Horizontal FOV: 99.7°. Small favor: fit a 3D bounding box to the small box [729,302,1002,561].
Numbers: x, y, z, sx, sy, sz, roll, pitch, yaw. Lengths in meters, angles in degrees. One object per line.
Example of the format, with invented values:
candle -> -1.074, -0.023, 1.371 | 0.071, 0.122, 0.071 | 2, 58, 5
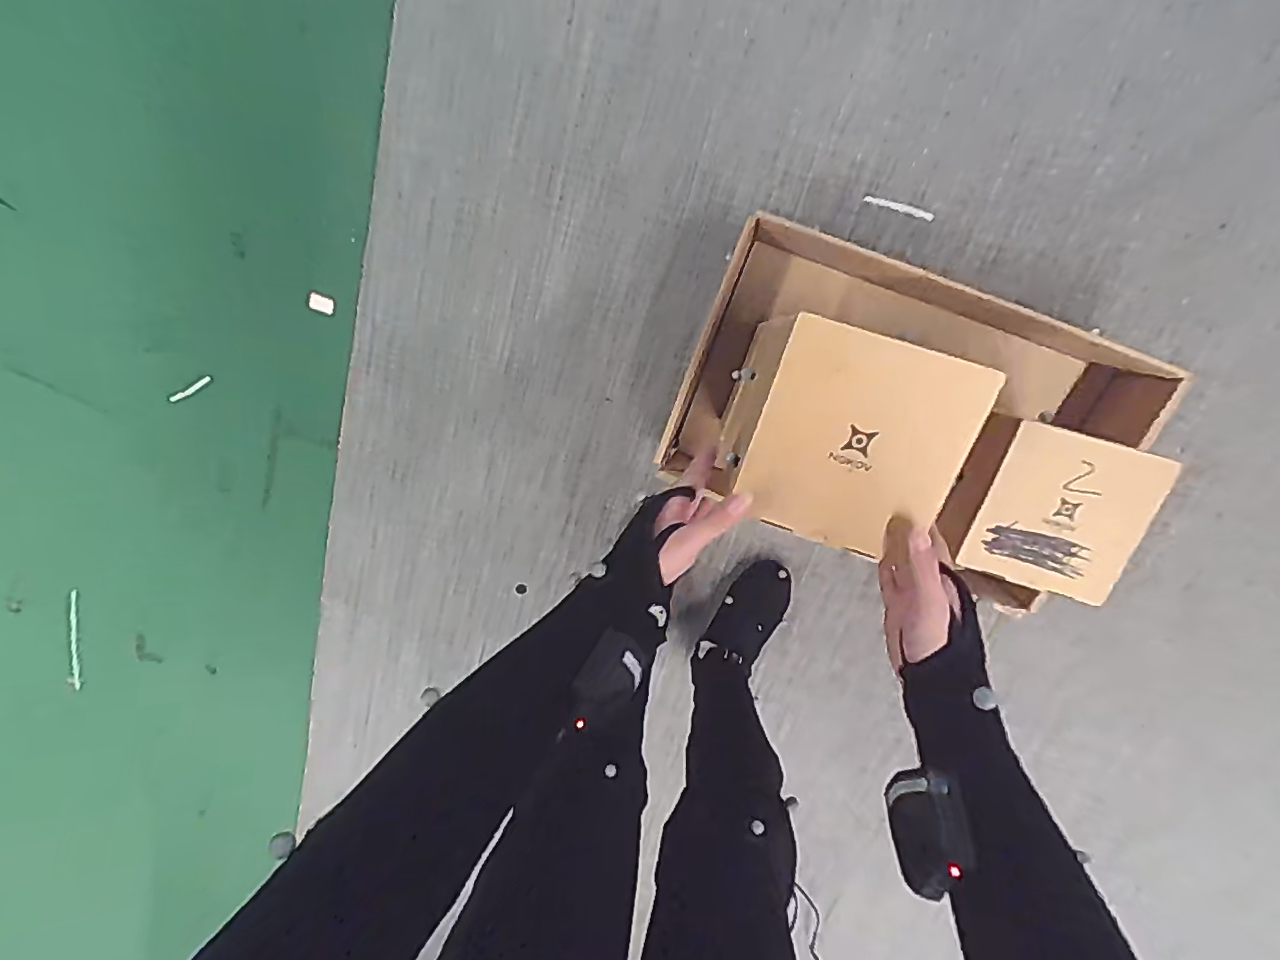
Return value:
small box -> 0.185, -0.055, 0.512 | 0.168, 0.176, 0.179 | 18, 107, 4
